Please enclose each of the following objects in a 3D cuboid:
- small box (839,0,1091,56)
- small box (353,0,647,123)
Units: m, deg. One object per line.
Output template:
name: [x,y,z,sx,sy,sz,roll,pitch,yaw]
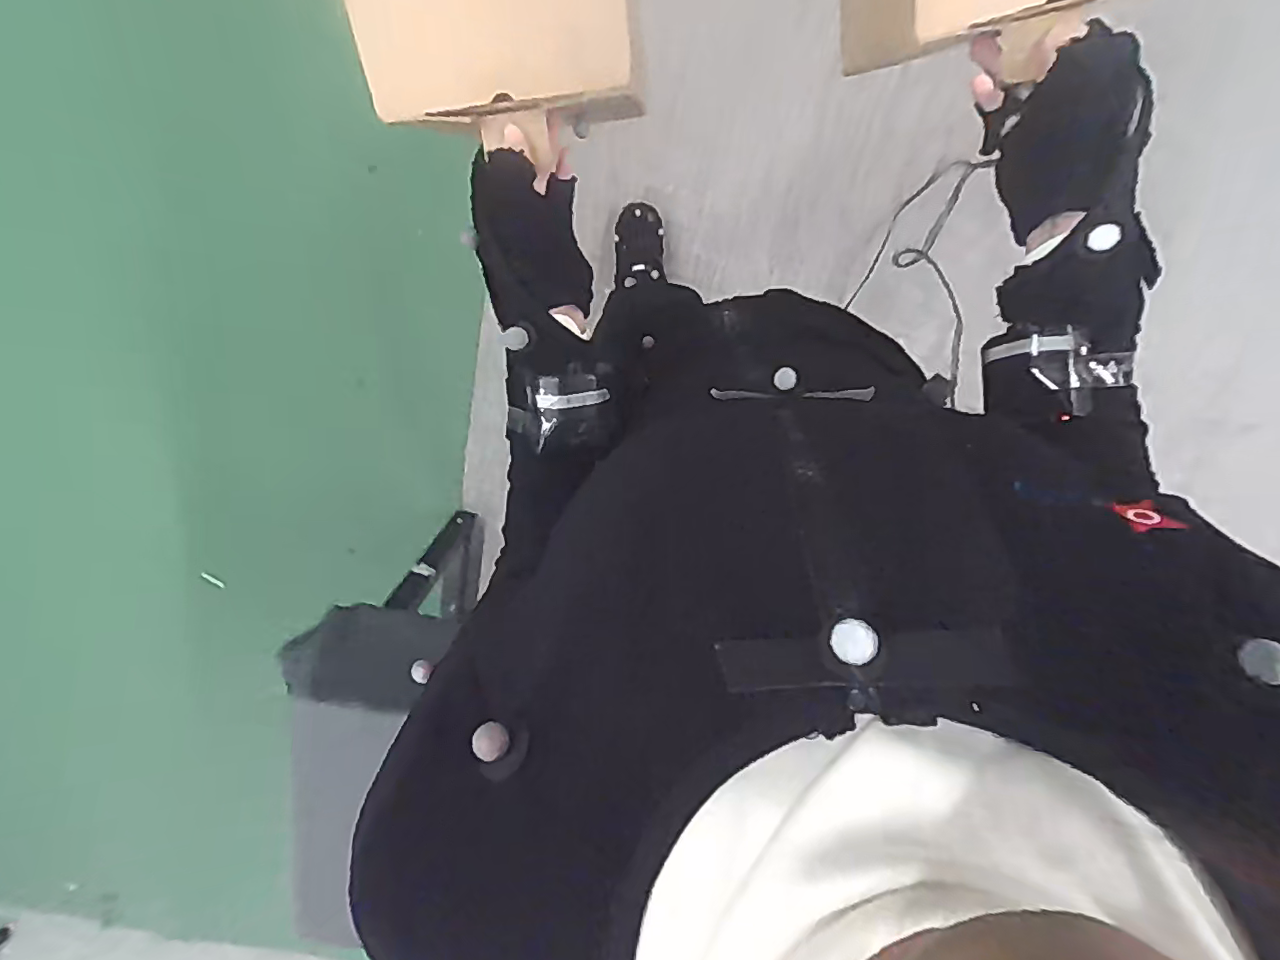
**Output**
small box: [0.235,-0.406,0.354,0.168,0.176,0.179,-9,121,8]
small box: [-0.086,-0.354,0.365,0.168,0.176,0.179,-4,118,5]
